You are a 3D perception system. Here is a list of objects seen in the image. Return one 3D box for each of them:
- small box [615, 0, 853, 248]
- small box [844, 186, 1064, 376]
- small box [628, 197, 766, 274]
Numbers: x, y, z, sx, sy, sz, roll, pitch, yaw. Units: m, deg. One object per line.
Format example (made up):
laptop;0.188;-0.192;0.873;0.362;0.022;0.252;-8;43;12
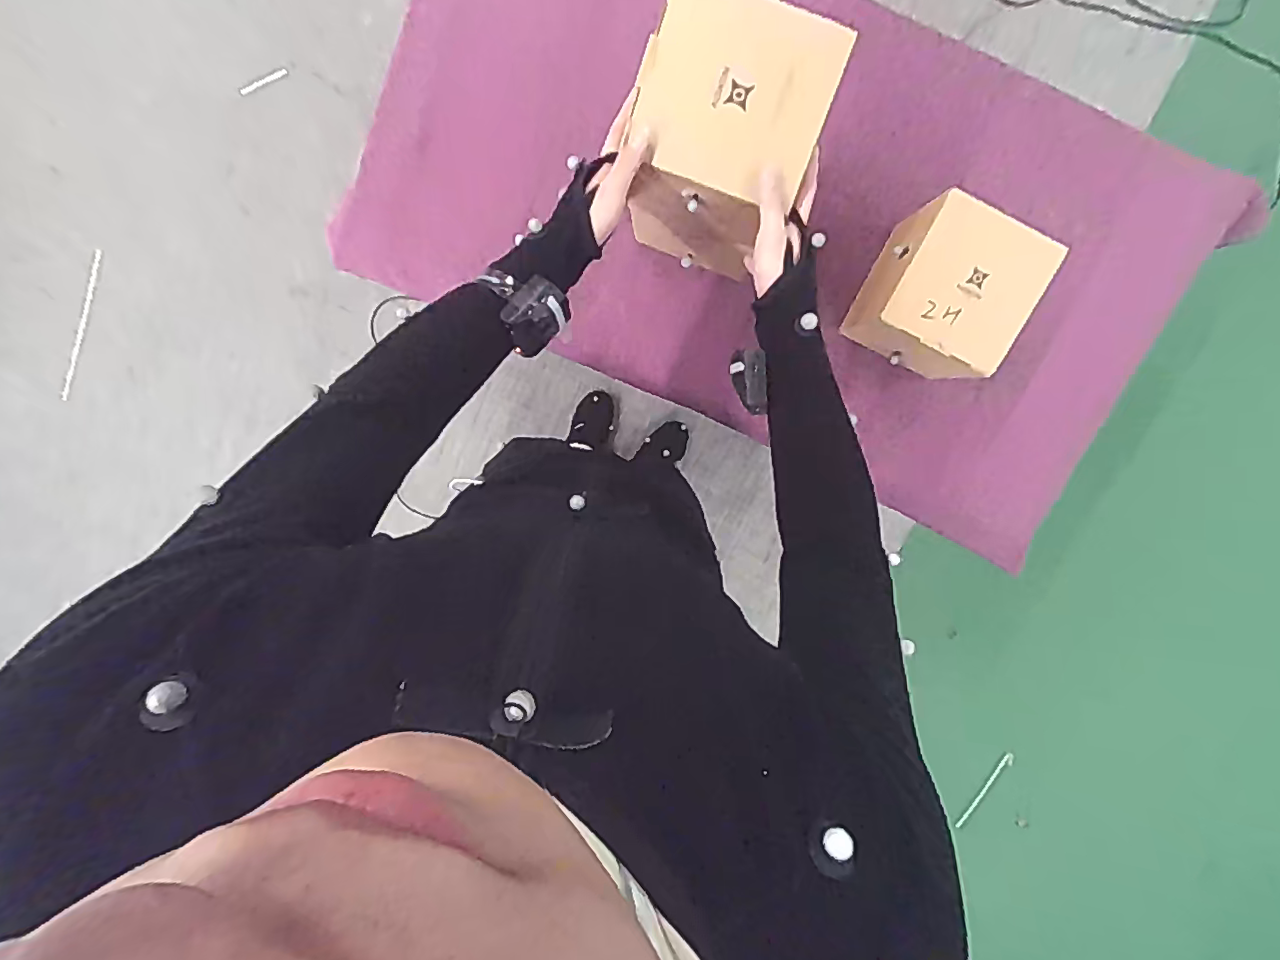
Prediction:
small box;0.088;-0.370;0.577;0.179;0.176;0.168;21;101;-1
small box;0.412;-0.259;0.749;0.168;0.176;0.179;27;100;-2
small box;0.096;-0.397;0.739;0.179;0.176;0.168;21;100;-2
